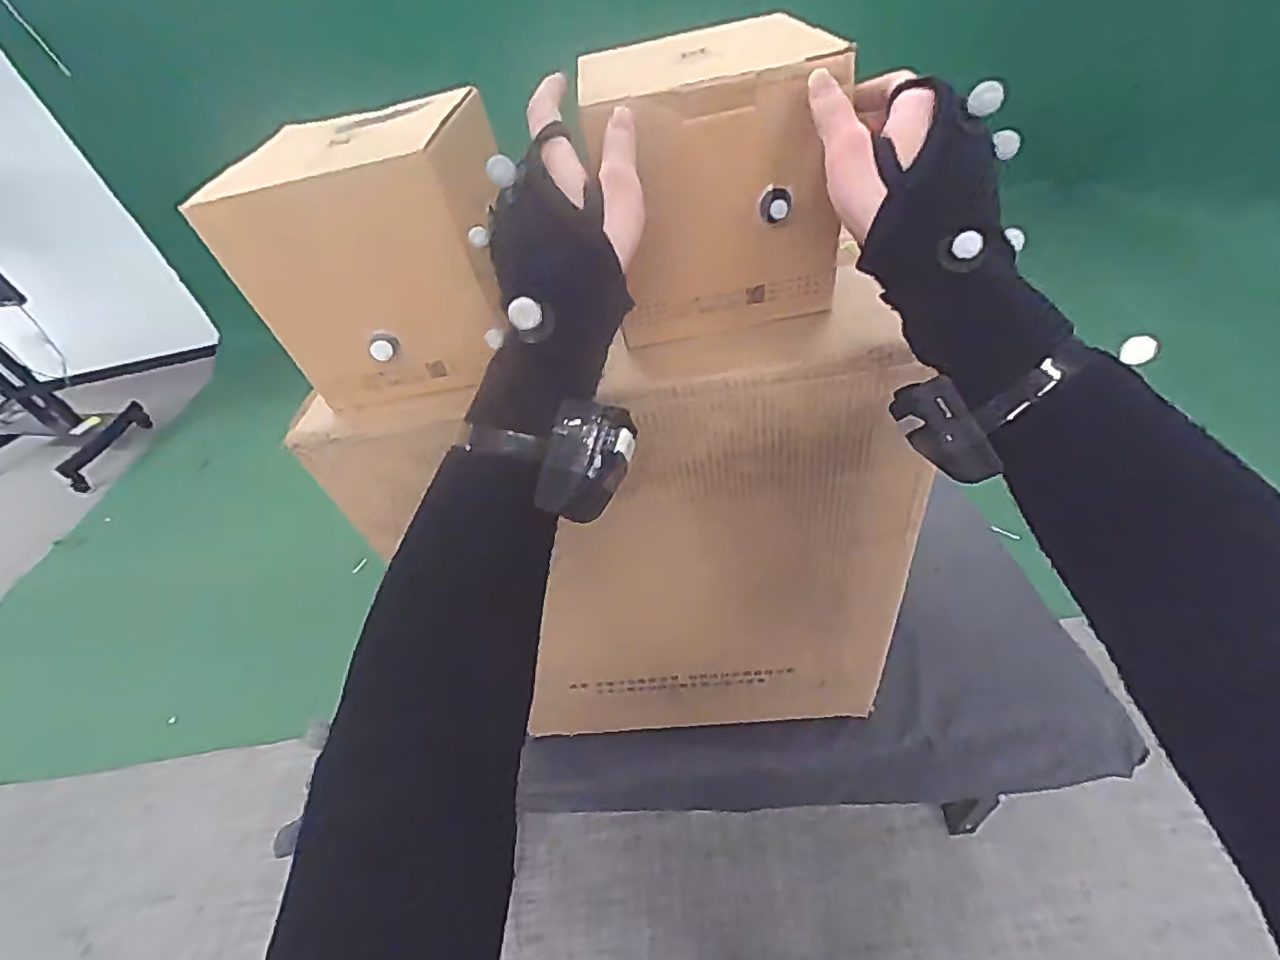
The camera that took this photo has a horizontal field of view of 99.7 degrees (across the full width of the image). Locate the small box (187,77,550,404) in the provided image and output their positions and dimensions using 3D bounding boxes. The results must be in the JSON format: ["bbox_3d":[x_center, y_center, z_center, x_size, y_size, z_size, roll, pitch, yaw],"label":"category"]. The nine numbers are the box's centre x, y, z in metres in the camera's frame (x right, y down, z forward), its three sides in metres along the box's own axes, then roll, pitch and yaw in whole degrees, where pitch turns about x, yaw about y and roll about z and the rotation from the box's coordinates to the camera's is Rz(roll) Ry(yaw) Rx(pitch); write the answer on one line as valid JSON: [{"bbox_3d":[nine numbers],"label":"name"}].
[{"bbox_3d":[-0.178,-0.185,0.427,0.168,0.176,0.179,-8,46,8],"label":"small box"}]
